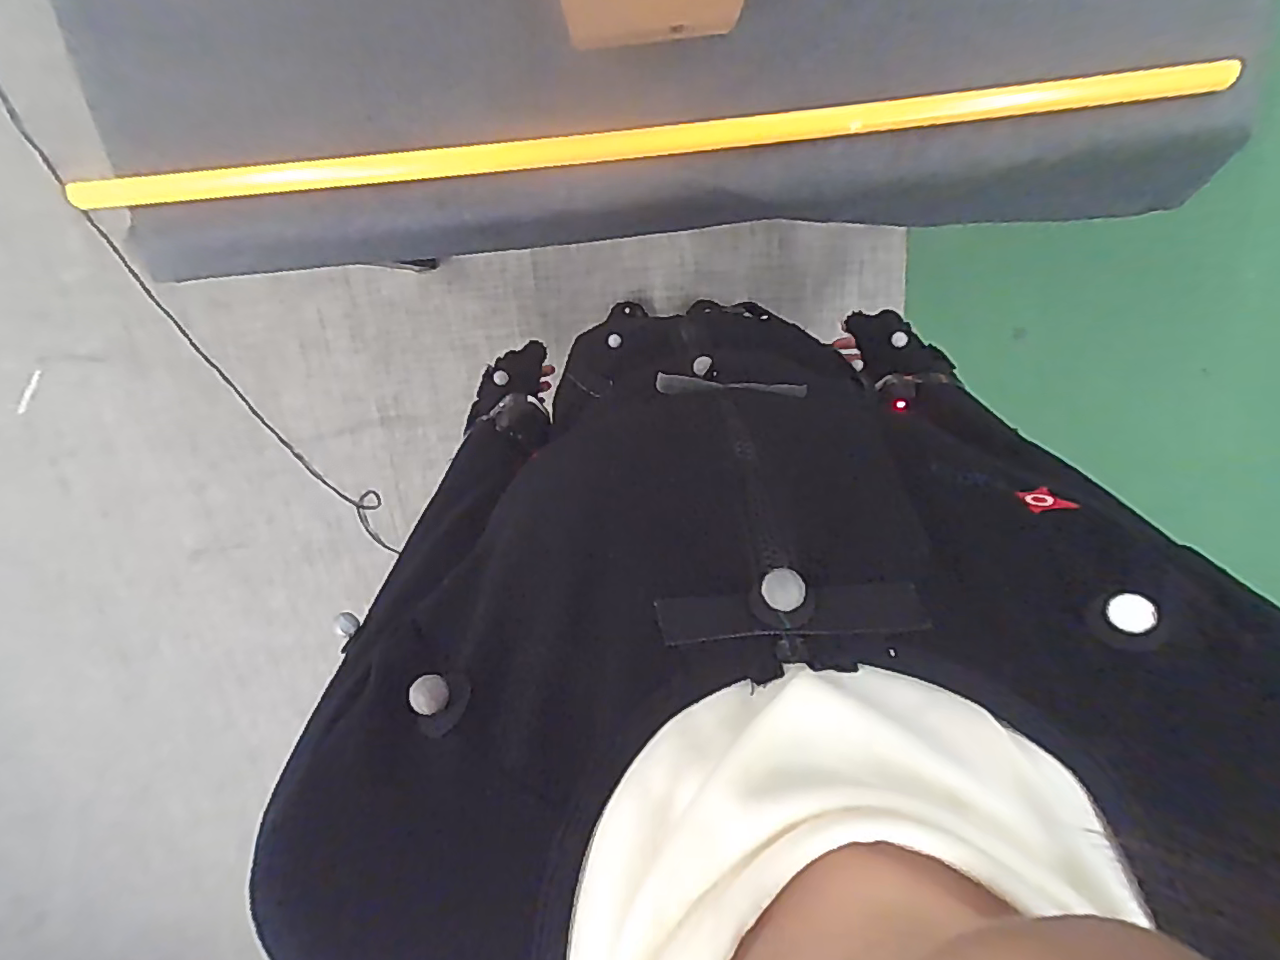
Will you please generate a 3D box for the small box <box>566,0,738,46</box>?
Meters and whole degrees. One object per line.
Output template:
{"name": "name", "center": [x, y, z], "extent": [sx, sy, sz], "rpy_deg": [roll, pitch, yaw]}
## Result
{"name": "small box", "center": [0.004, -0.510, 0.451], "extent": [0.168, 0.176, 0.179], "rpy_deg": [-5, 107, 3]}
